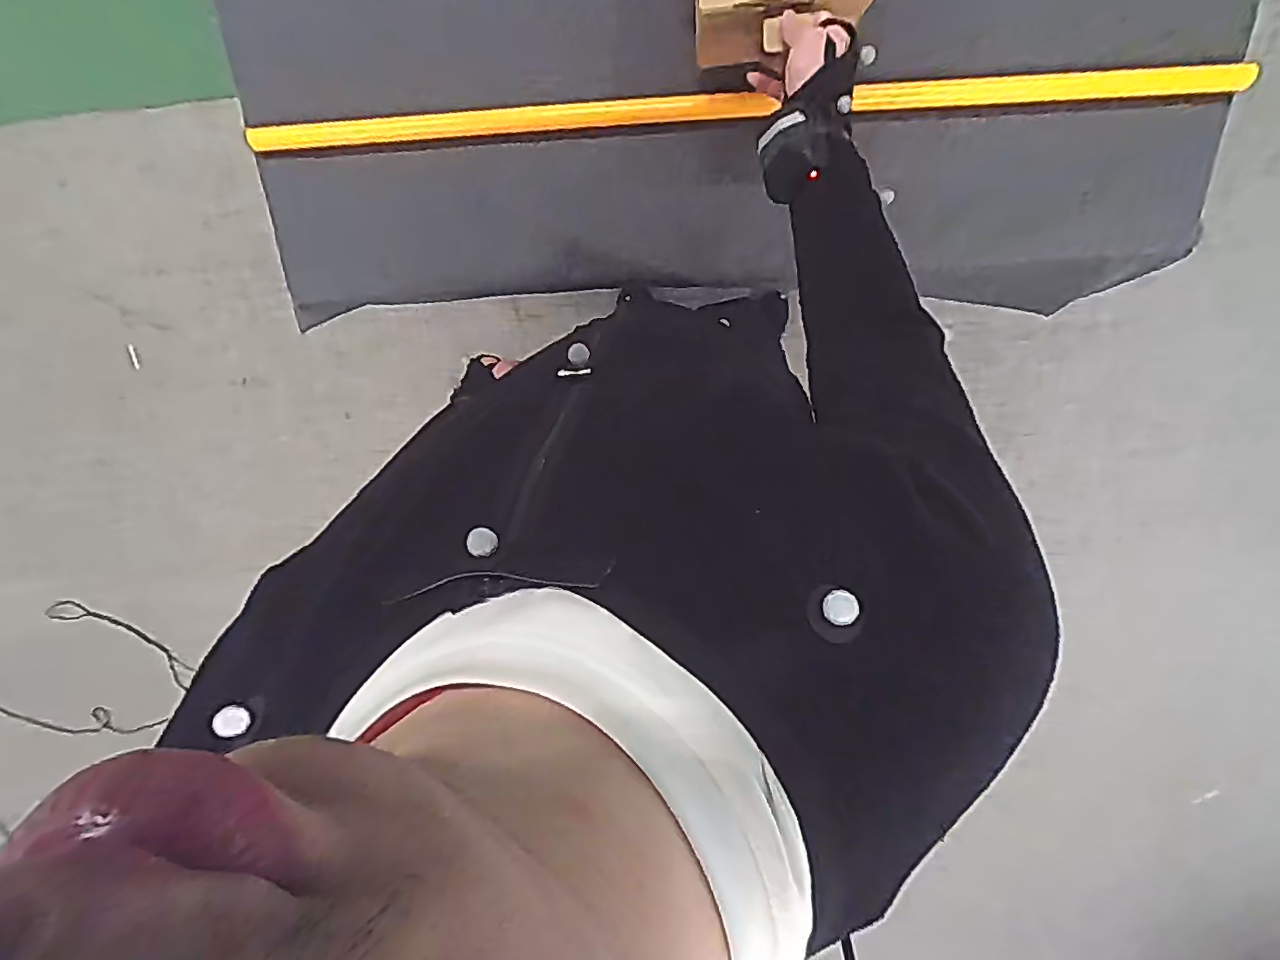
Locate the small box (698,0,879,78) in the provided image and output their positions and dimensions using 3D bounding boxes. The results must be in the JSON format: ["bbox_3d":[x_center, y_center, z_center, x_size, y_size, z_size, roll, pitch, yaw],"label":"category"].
[{"bbox_3d":[0.140,-0.535,0.542,0.168,0.176,0.179,-4,111,10],"label":"small box"}]
